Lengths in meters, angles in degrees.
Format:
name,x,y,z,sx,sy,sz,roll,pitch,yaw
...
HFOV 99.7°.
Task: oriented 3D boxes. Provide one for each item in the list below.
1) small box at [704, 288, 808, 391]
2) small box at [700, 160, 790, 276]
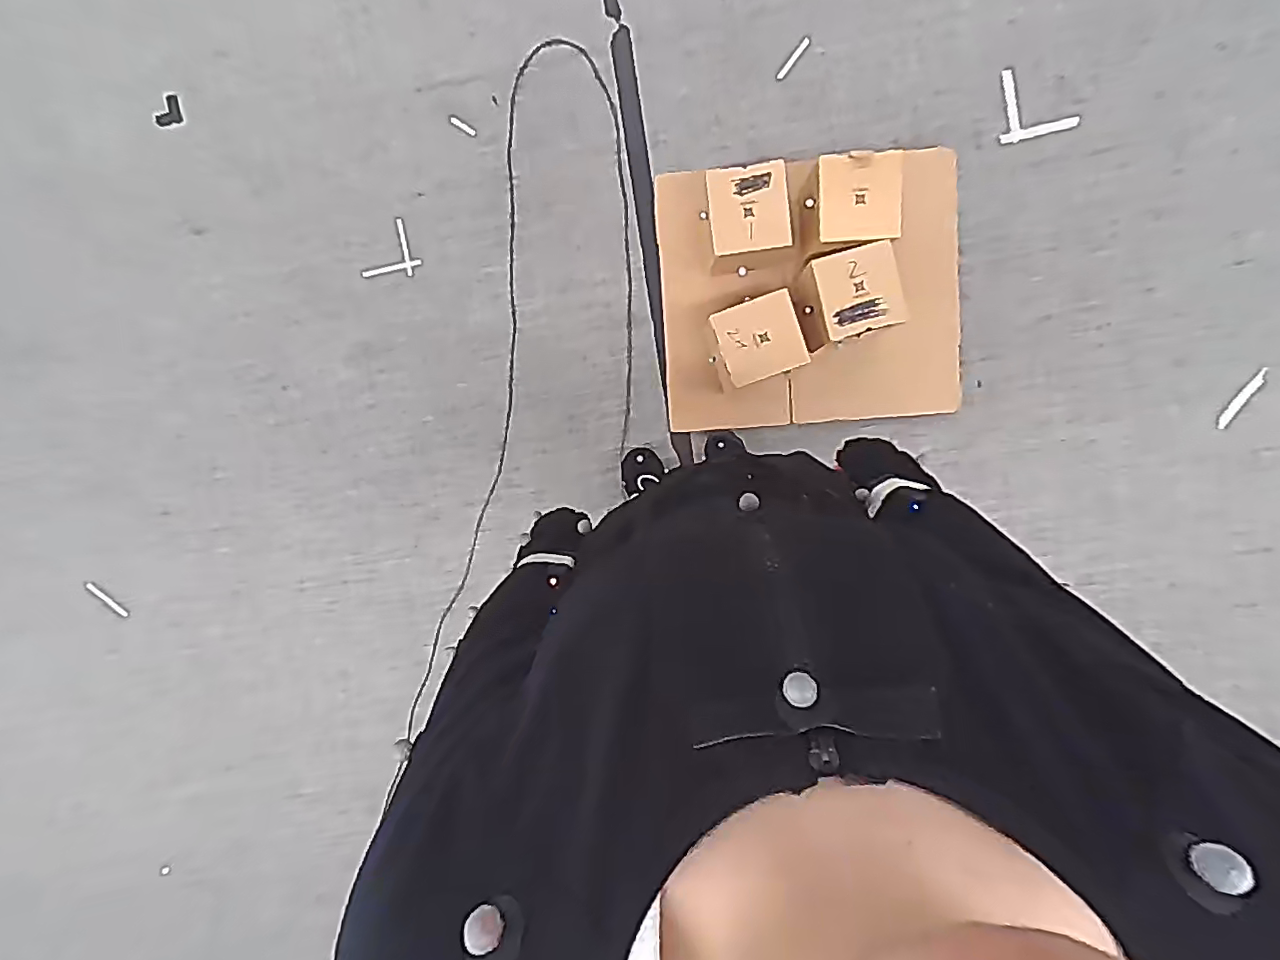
name,x,y,z,sx,sy,sz,roll,pitch,yaw
small box,0.256,-0.311,1.230,0.179,0.176,0.168,-19,93,4
small box,0.228,-0.576,1.207,0.168,0.176,0.179,-7,96,3
